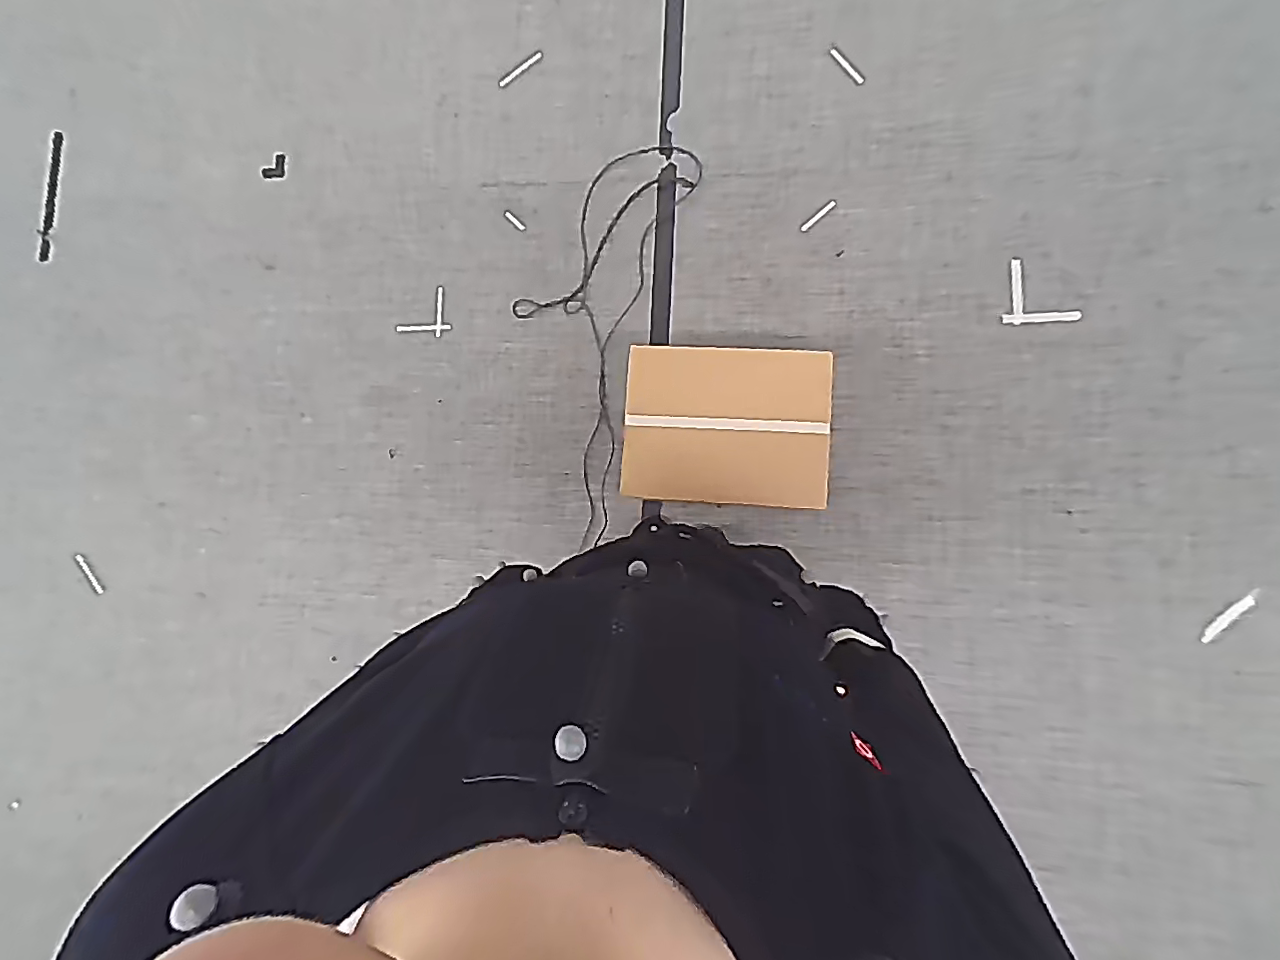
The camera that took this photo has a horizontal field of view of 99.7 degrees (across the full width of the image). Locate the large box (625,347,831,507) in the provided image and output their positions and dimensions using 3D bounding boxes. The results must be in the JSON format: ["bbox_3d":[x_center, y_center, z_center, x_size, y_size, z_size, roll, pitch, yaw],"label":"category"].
[{"bbox_3d":[0.188,-0.103,1.230,0.408,0.320,0.320,3,88,7],"label":"large box"}]
